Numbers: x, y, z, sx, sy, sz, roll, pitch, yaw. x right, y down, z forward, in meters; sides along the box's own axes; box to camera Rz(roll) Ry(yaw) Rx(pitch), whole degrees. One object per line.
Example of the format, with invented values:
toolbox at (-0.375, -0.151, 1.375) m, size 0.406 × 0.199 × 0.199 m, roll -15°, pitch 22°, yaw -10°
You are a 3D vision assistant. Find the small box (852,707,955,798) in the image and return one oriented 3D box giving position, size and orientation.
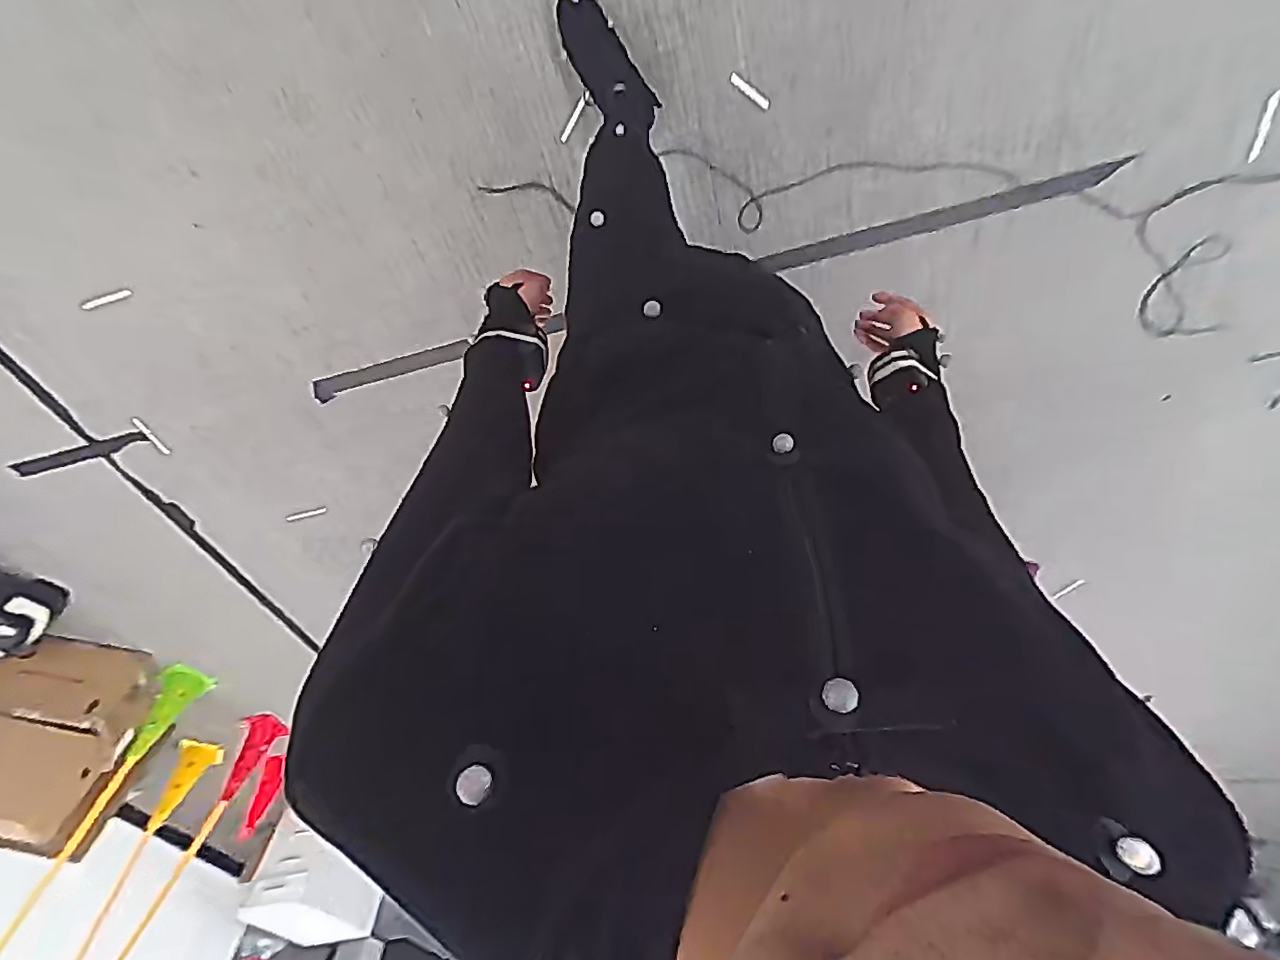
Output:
small box at (0.640, 0.644, 1.324) m, size 0.179 × 0.176 × 0.168 m, roll -16°, pitch 124°, yaw 10°
